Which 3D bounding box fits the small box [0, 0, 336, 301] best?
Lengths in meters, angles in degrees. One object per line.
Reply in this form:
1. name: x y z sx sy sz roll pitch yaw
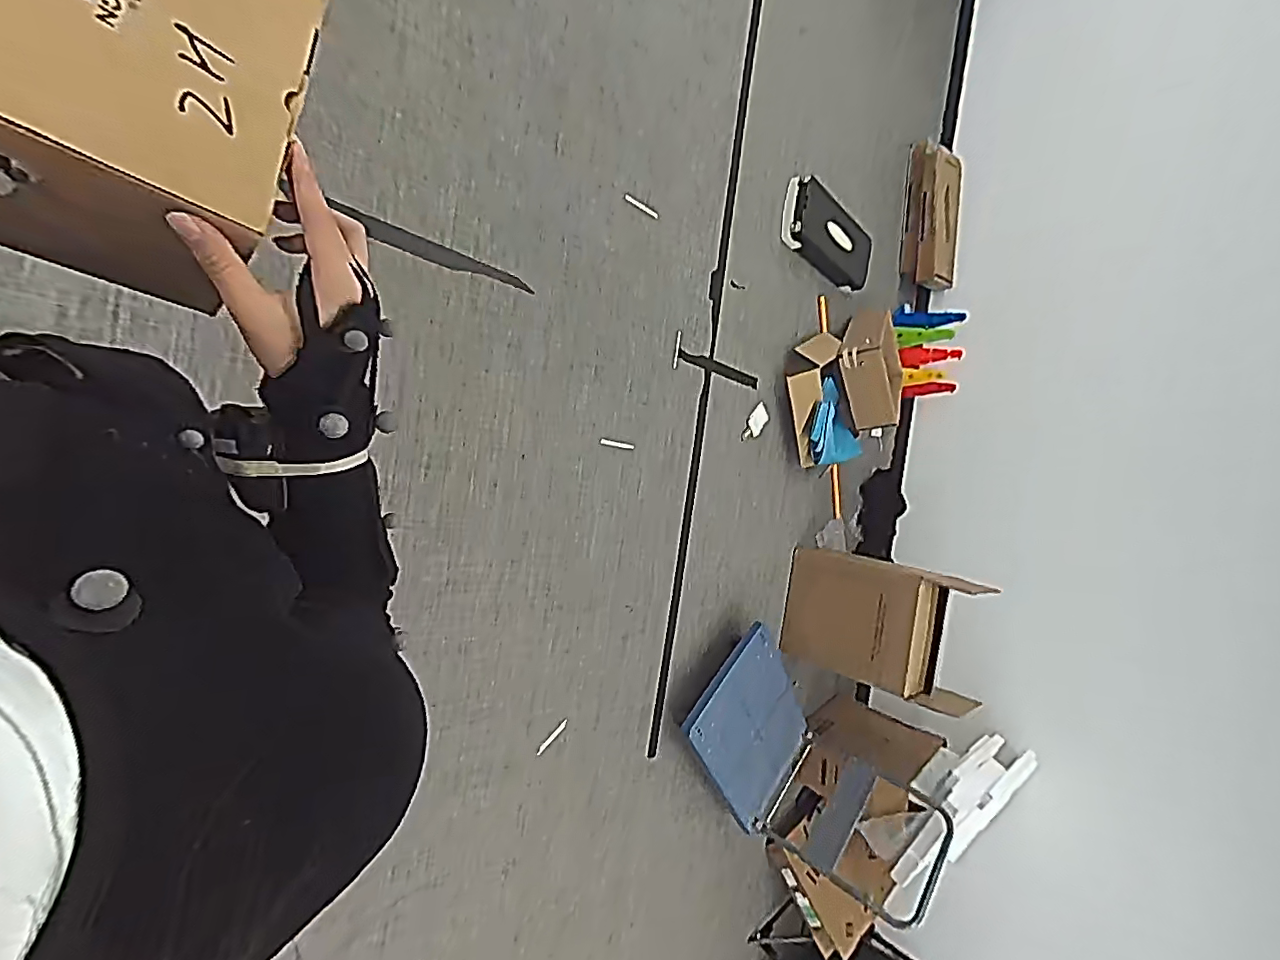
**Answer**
1. small box: -0.307 -0.224 0.304 0.179 0.176 0.168 17 76 -44
